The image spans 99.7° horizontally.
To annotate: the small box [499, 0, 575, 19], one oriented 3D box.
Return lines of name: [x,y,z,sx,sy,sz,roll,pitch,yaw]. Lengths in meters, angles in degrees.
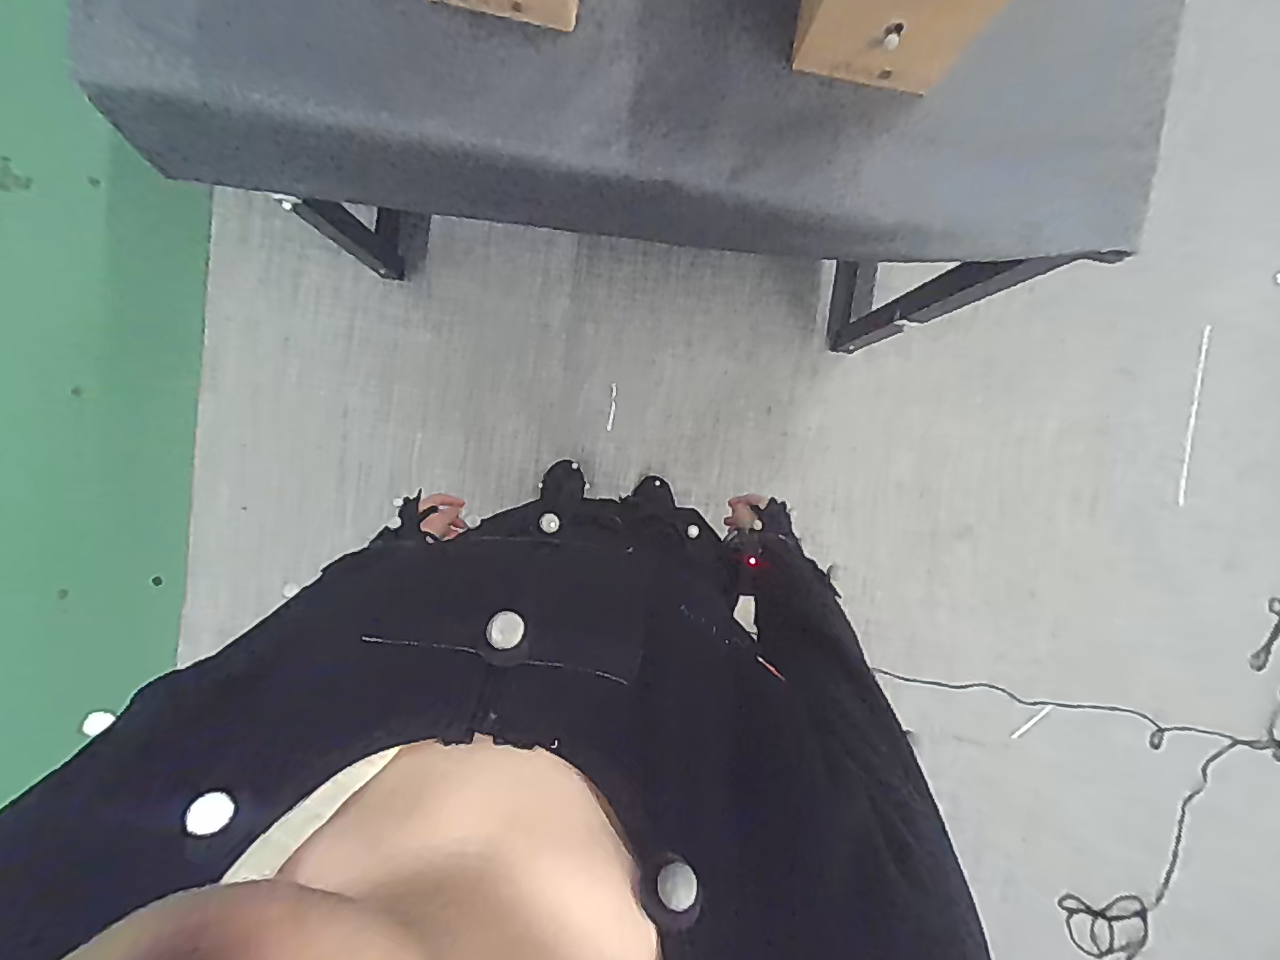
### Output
small box: [-0.135,-0.599,0.512,0.168,0.176,0.179,11,92,-4]

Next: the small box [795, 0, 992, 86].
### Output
small box: [0.267,-0.541,0.537,0.168,0.176,0.179,9,93,-4]
